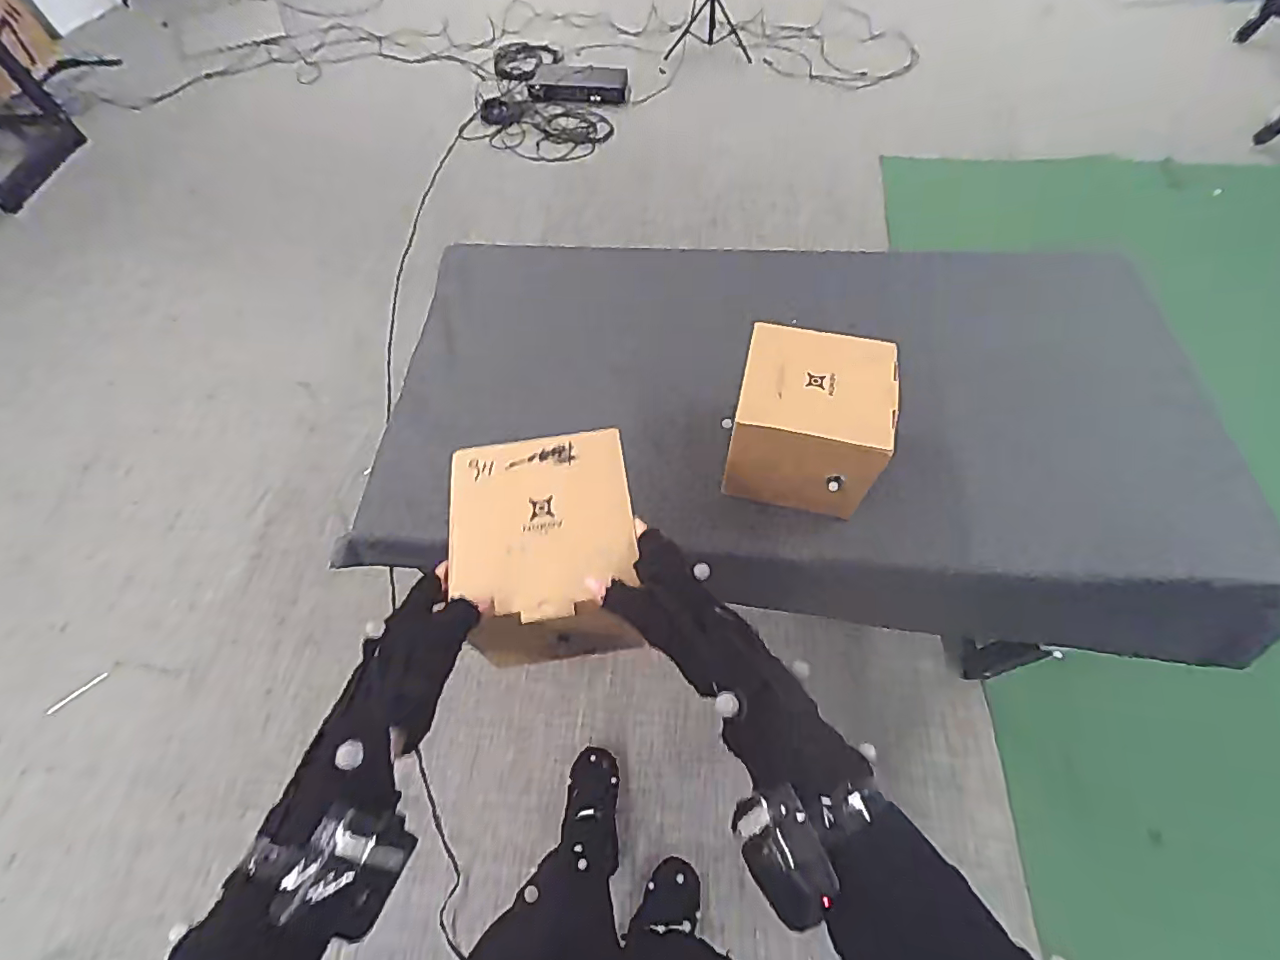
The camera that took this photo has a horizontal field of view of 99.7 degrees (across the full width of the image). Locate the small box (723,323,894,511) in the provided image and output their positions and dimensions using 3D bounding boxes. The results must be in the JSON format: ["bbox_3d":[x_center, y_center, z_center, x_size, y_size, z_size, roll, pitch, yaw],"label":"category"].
[{"bbox_3d":[0.214,-0.076,0.709,0.179,0.176,0.168,10,60,9],"label":"small box"}]

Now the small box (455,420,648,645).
[{"bbox_3d":[-0.083,0.064,0.563,0.168,0.176,0.179,-8,60,-3],"label":"small box"}]
